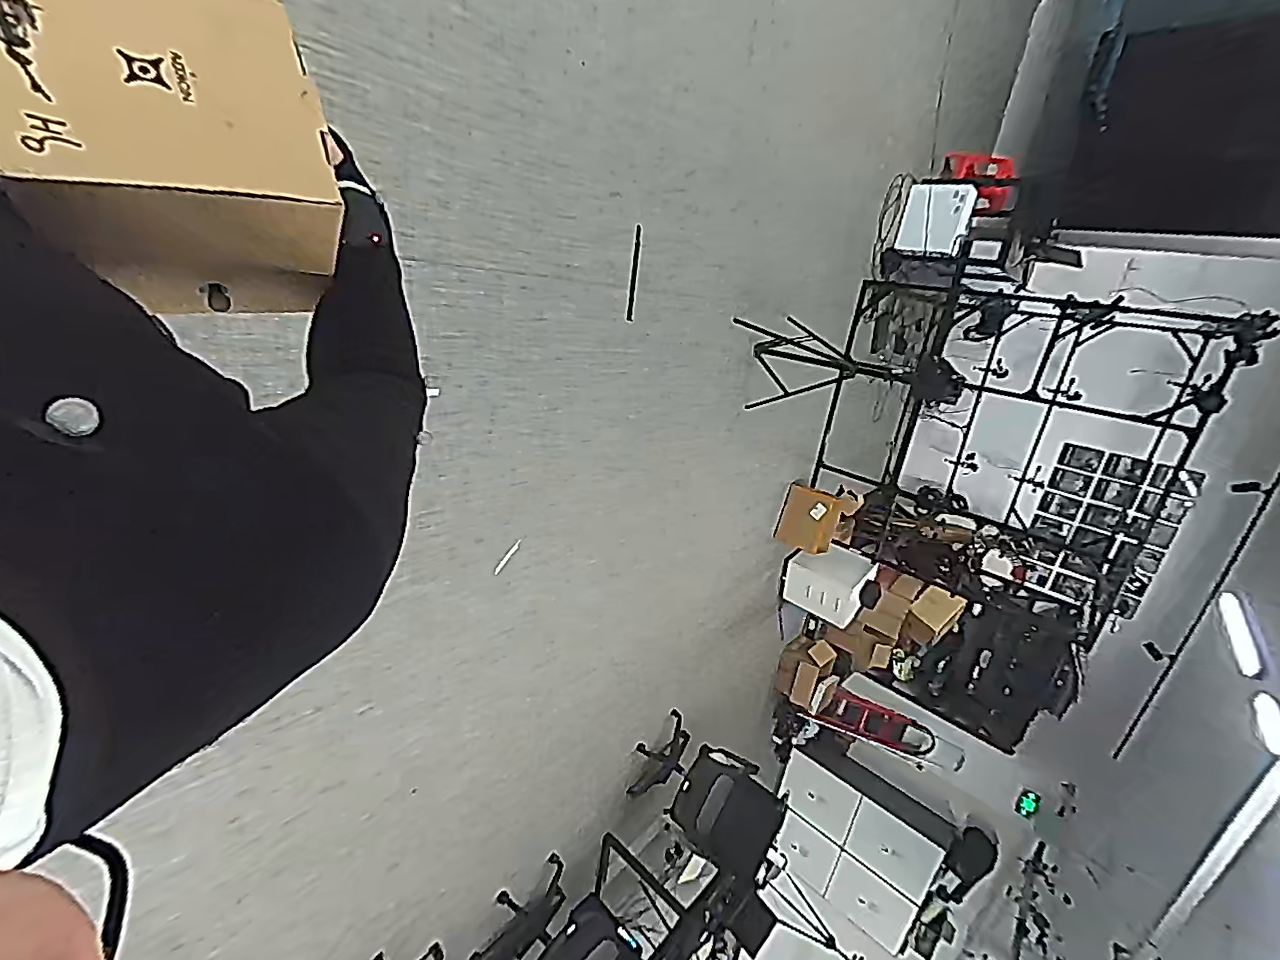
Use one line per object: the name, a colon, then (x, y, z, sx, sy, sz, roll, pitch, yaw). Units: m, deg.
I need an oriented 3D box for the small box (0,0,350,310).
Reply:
small box: (-0.358, -0.250, 0.434, 0.179, 0.176, 0.168, -14, 85, -36)
